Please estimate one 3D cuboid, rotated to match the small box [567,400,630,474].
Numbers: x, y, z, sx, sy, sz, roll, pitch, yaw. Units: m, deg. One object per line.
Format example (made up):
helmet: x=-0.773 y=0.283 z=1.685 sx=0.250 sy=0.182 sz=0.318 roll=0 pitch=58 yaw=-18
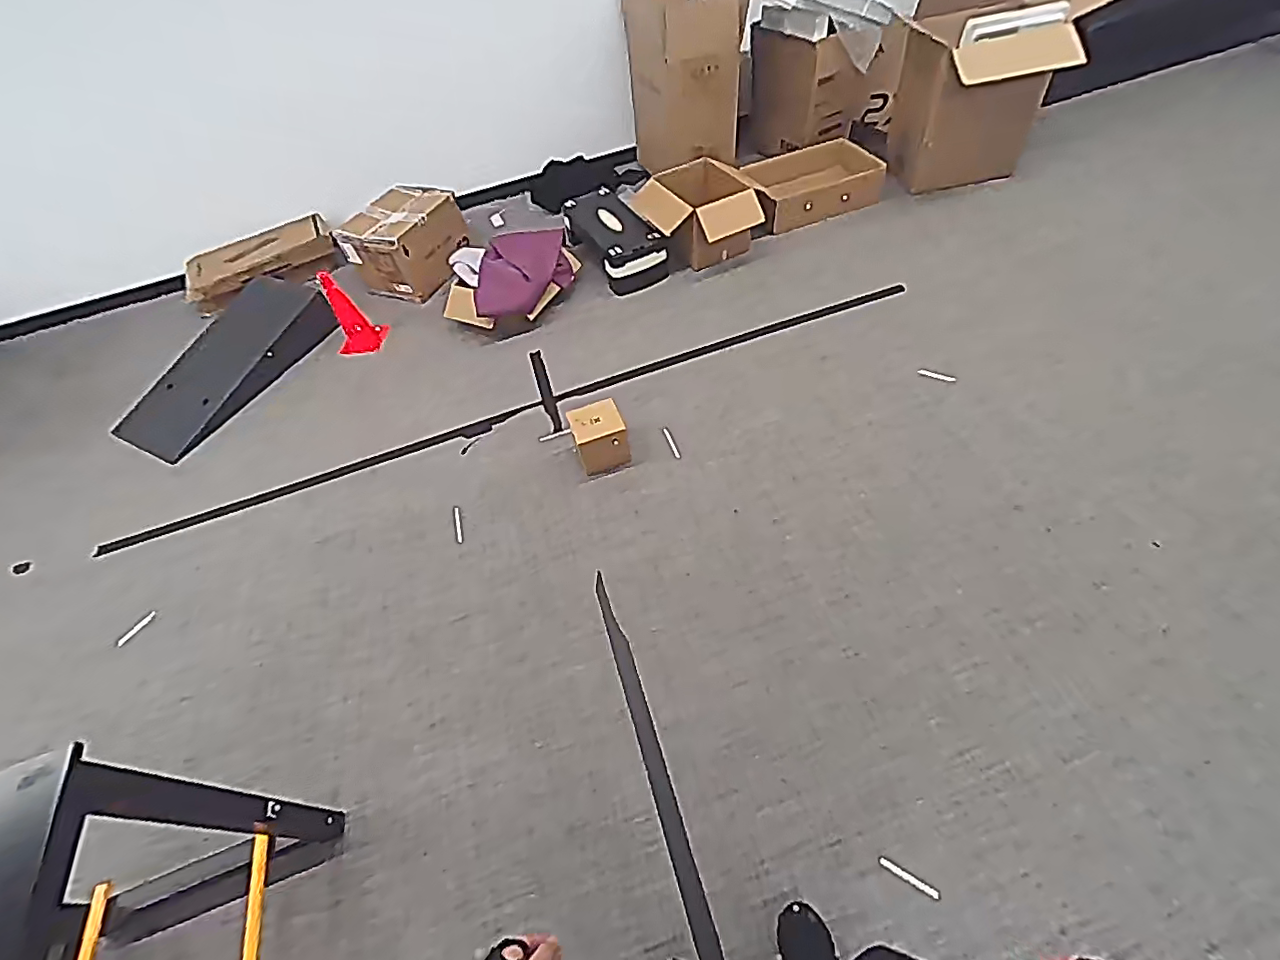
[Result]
small box: x=-0.142 y=-0.152 z=1.921 sx=0.179 sy=0.176 sz=0.168 roll=-19 pitch=53 yaw=-6
